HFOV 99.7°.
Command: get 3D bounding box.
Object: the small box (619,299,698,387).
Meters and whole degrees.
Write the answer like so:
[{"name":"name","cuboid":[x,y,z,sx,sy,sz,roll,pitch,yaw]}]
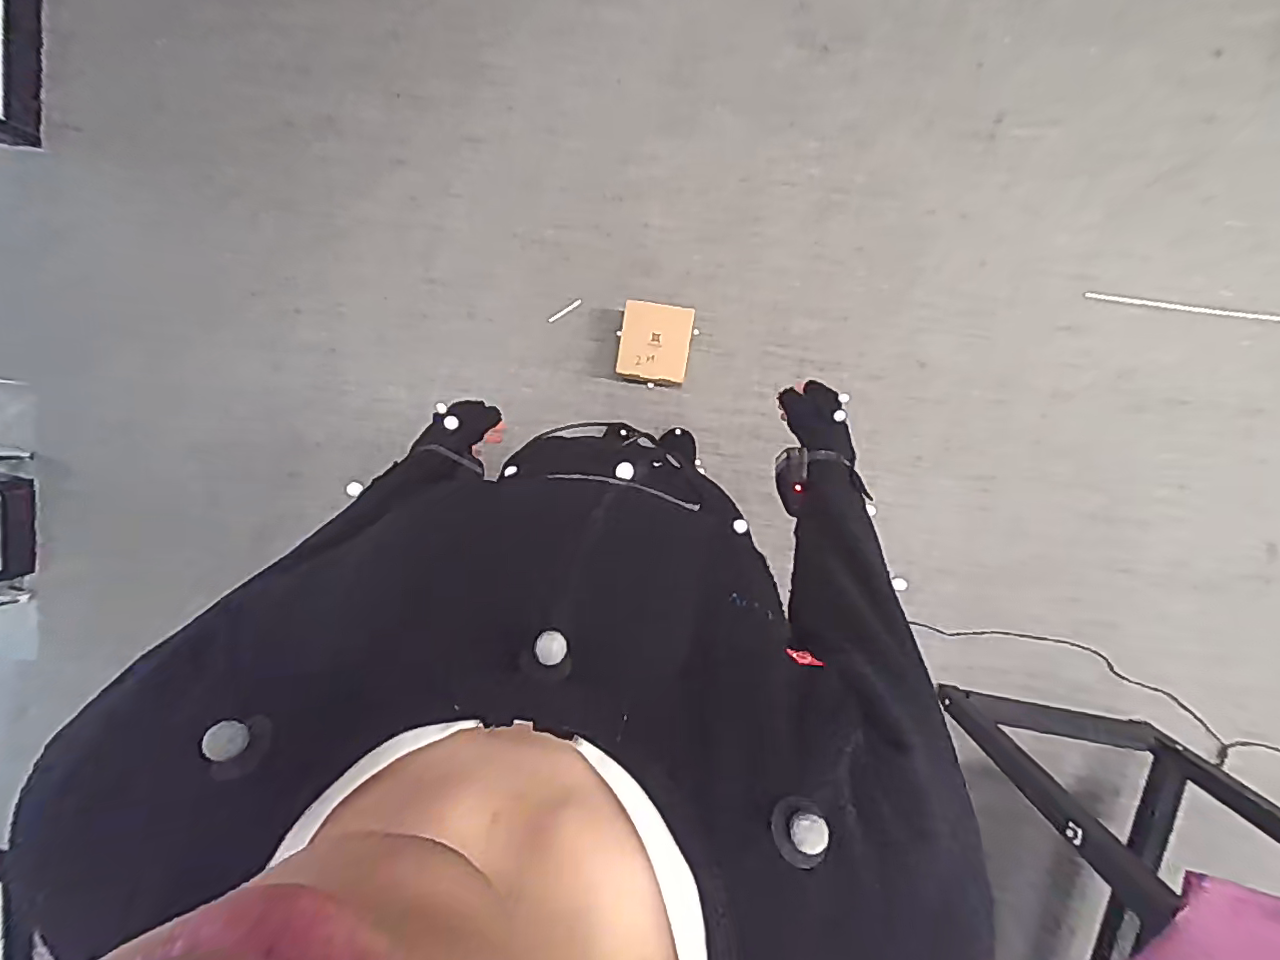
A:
[{"name":"small box","cuboid":[0.047,-0.335,1.350,0.168,0.176,0.179,9,97,3]}]
